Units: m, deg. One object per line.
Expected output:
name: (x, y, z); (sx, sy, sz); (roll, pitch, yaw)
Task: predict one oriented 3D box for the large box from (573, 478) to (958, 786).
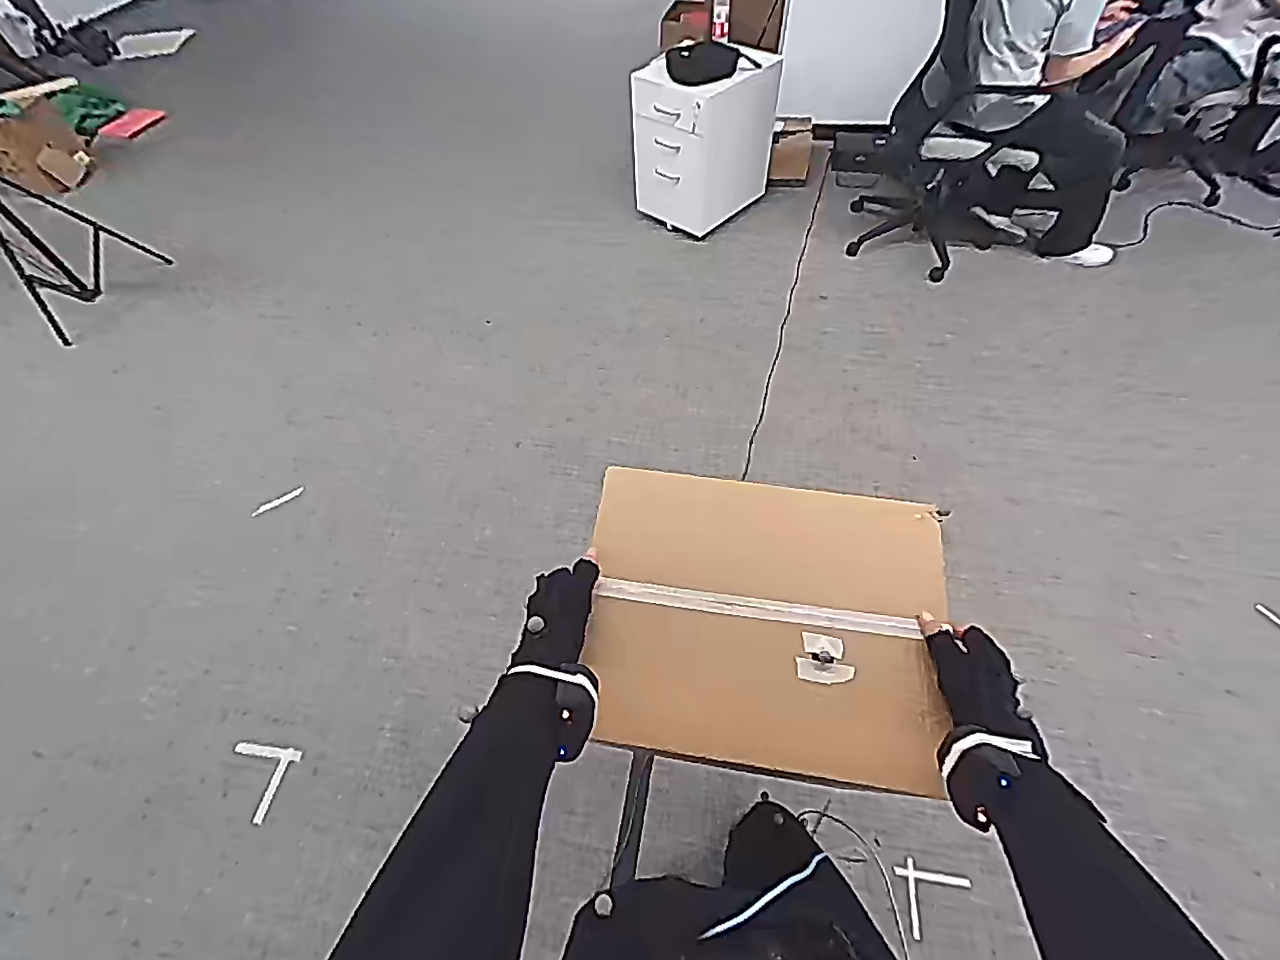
large box: (0.144, 0.220, 0.754); (0.408, 0.320, 0.320); (7, 63, 5)
